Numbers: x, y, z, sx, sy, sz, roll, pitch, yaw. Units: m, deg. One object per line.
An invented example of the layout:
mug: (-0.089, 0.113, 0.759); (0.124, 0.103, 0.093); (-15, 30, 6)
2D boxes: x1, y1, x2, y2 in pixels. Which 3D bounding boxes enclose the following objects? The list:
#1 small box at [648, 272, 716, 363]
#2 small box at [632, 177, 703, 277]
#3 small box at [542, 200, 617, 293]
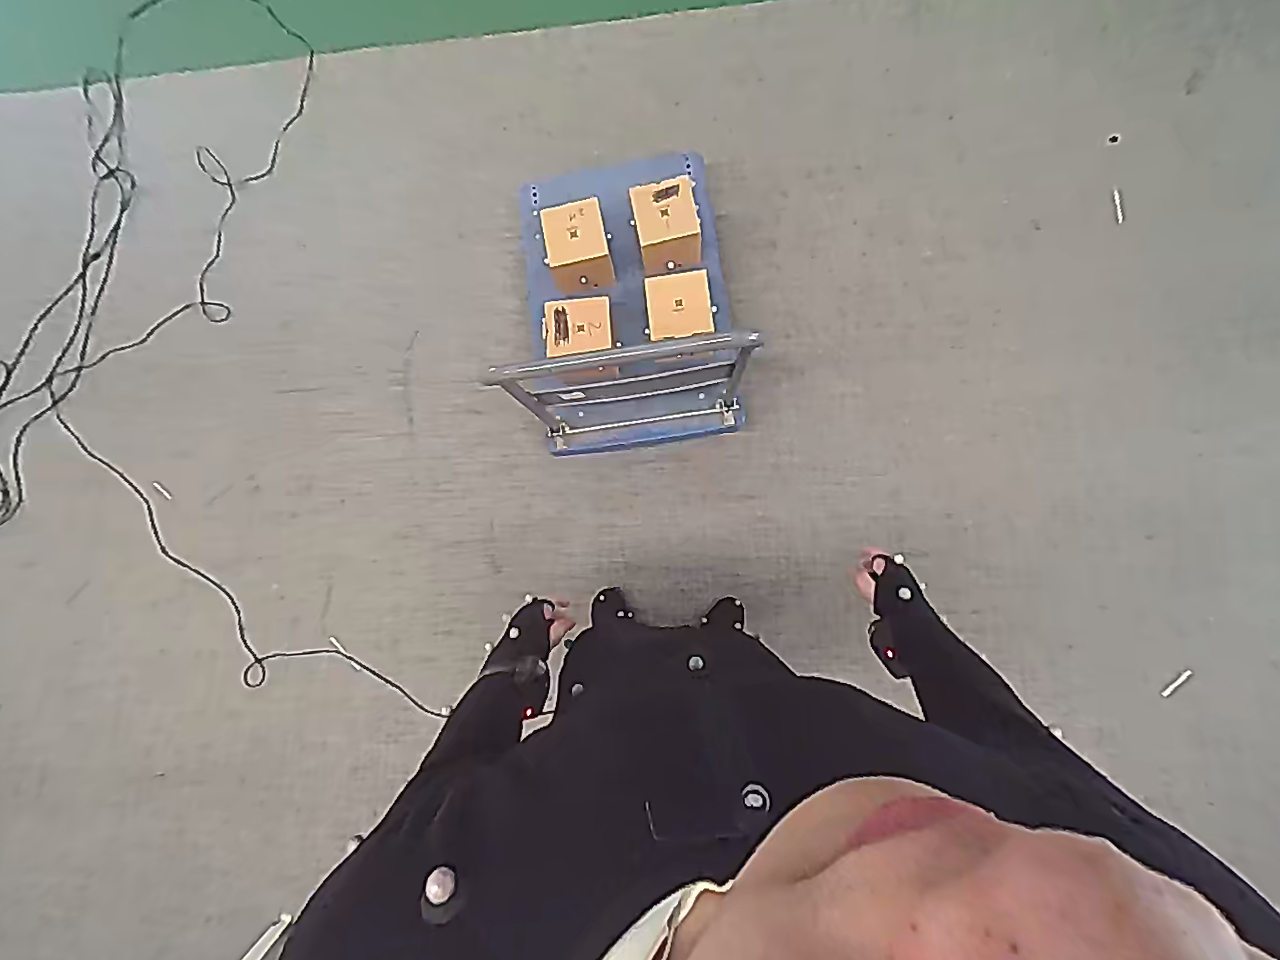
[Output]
small box: (0.113, -0.439, 1.482); (0.168, 0.176, 0.179); (-7, 82, 4)
small box: (0.079, -0.704, 1.521); (0.168, 0.176, 0.179); (-11, 82, 5)
small box: (-0.166, -0.652, 1.538); (0.168, 0.176, 0.179); (-11, 81, 3)
